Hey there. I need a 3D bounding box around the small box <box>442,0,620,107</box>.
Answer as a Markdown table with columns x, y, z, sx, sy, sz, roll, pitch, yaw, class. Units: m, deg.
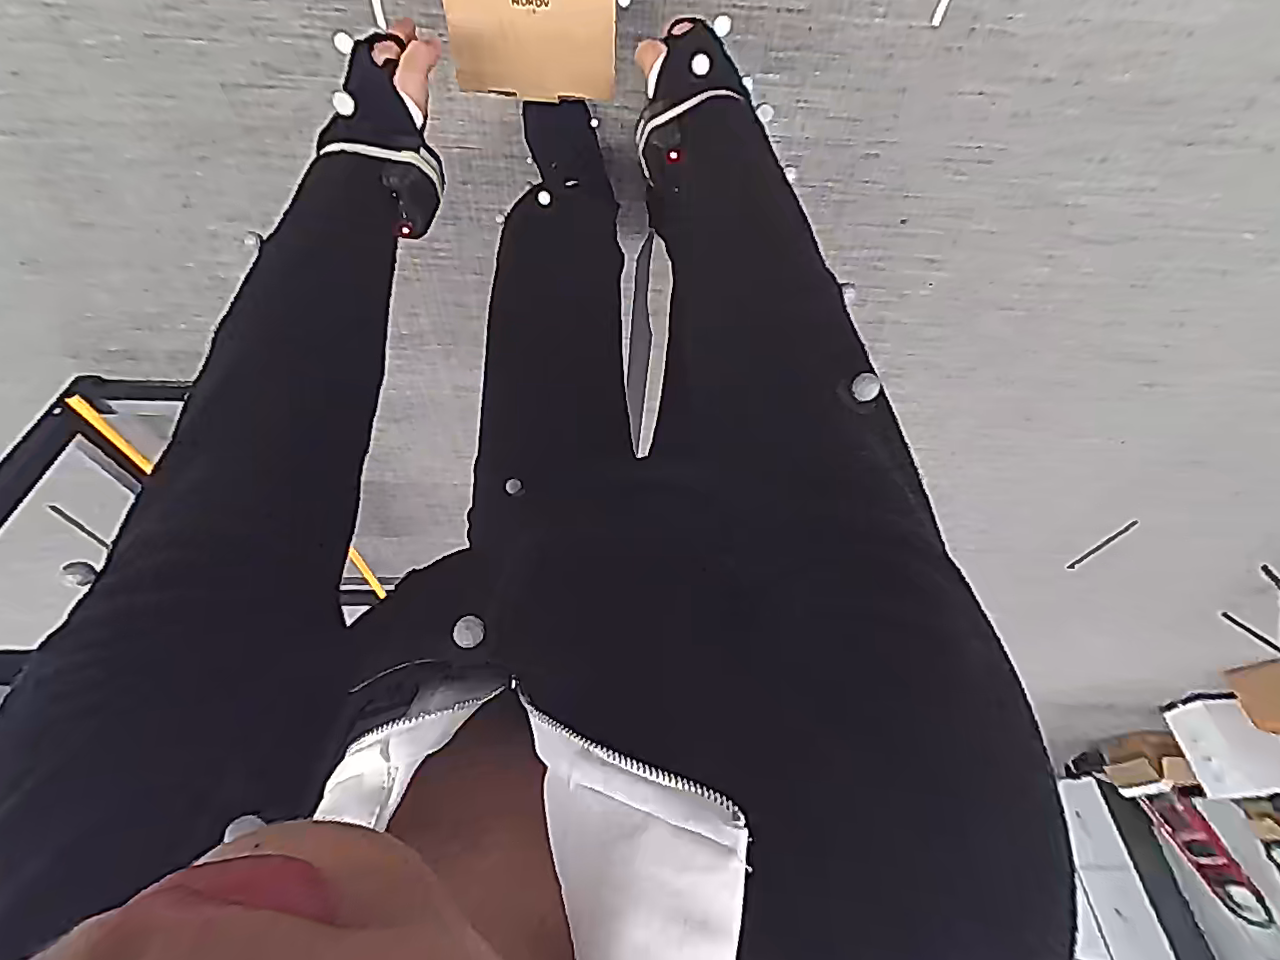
| x | y | z | sx | sy | sz | roll | pitch | yaw | class |
| --- | --- | --- | --- | --- | --- | --- | --- | --- | --- |
| -0.104 | -0.517 | 0.549 | 0.168 | 0.176 | 0.179 | 2 | 145 | -3 | small box |
